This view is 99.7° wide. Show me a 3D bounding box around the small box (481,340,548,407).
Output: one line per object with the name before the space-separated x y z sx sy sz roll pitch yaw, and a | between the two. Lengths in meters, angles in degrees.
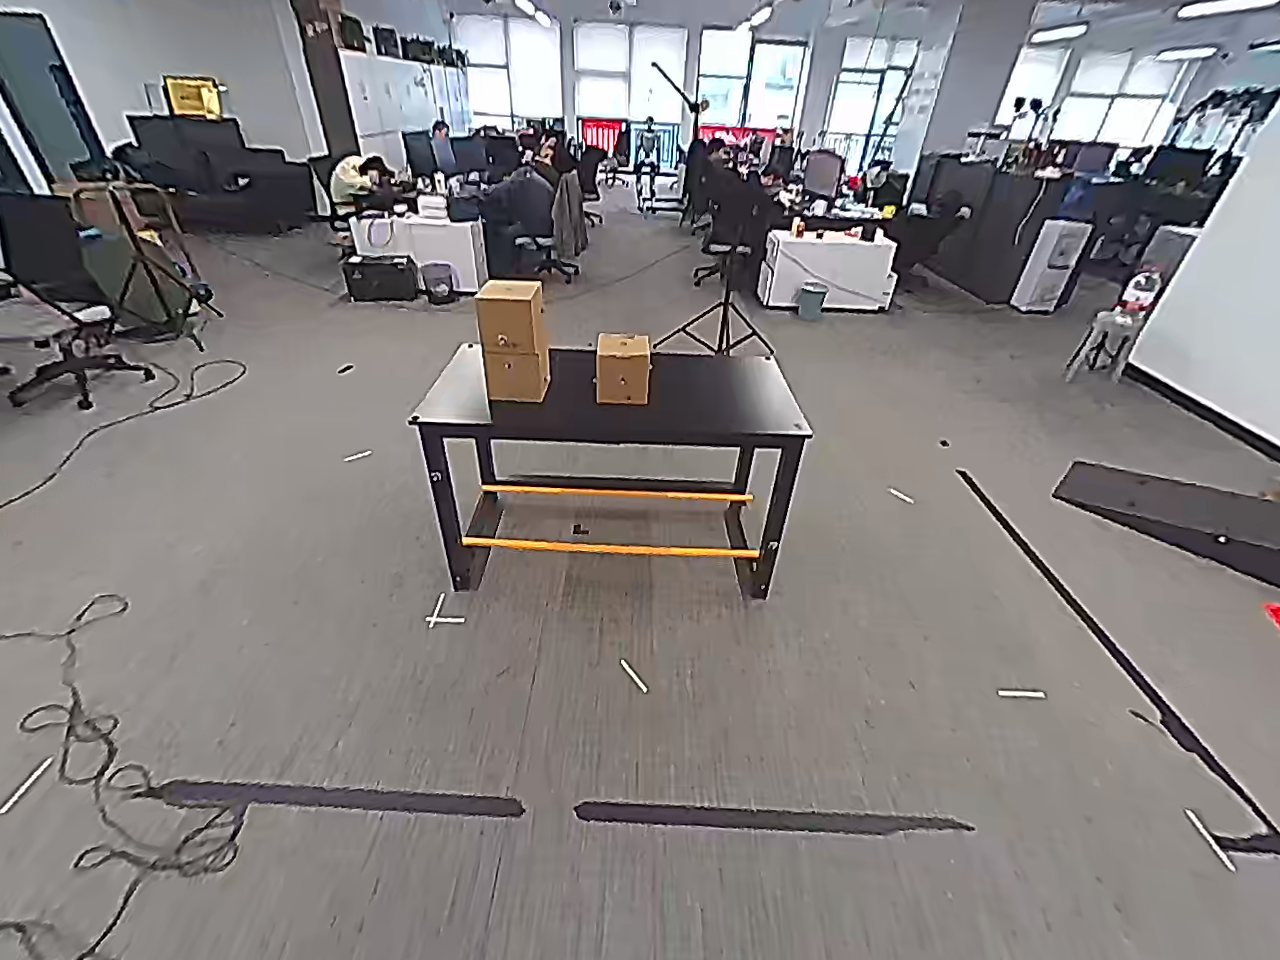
small box | -0.400 -0.349 1.755 0.179 0.176 0.168 3 35 -1

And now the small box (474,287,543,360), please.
small box | -0.396 -0.481 1.661 0.168 0.176 0.179 1 36 0

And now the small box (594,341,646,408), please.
small box | -0.063 -0.347 1.777 0.168 0.176 0.179 1 35 -2
